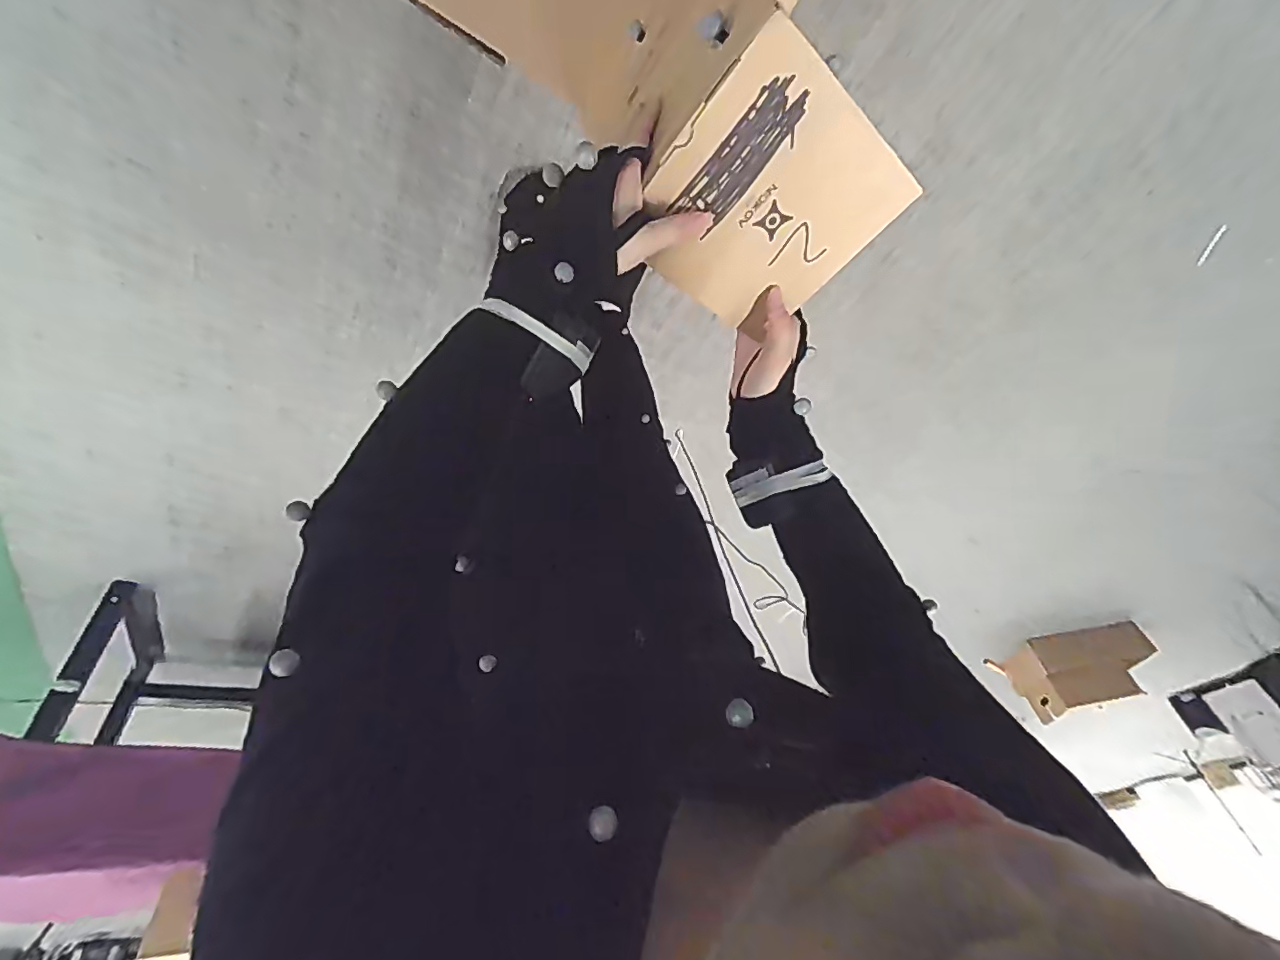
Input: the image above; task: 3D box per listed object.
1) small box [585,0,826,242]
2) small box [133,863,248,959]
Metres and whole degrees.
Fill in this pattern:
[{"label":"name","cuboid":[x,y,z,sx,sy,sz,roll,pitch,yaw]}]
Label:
[{"label":"small box","cuboid":[0.053,-0.401,0.573,0.168,0.176,0.179,20,129,-30]},{"label":"small box","cuboid":[-1.096,1.060,1.331,0.179,0.176,0.168,16,132,-26]}]
